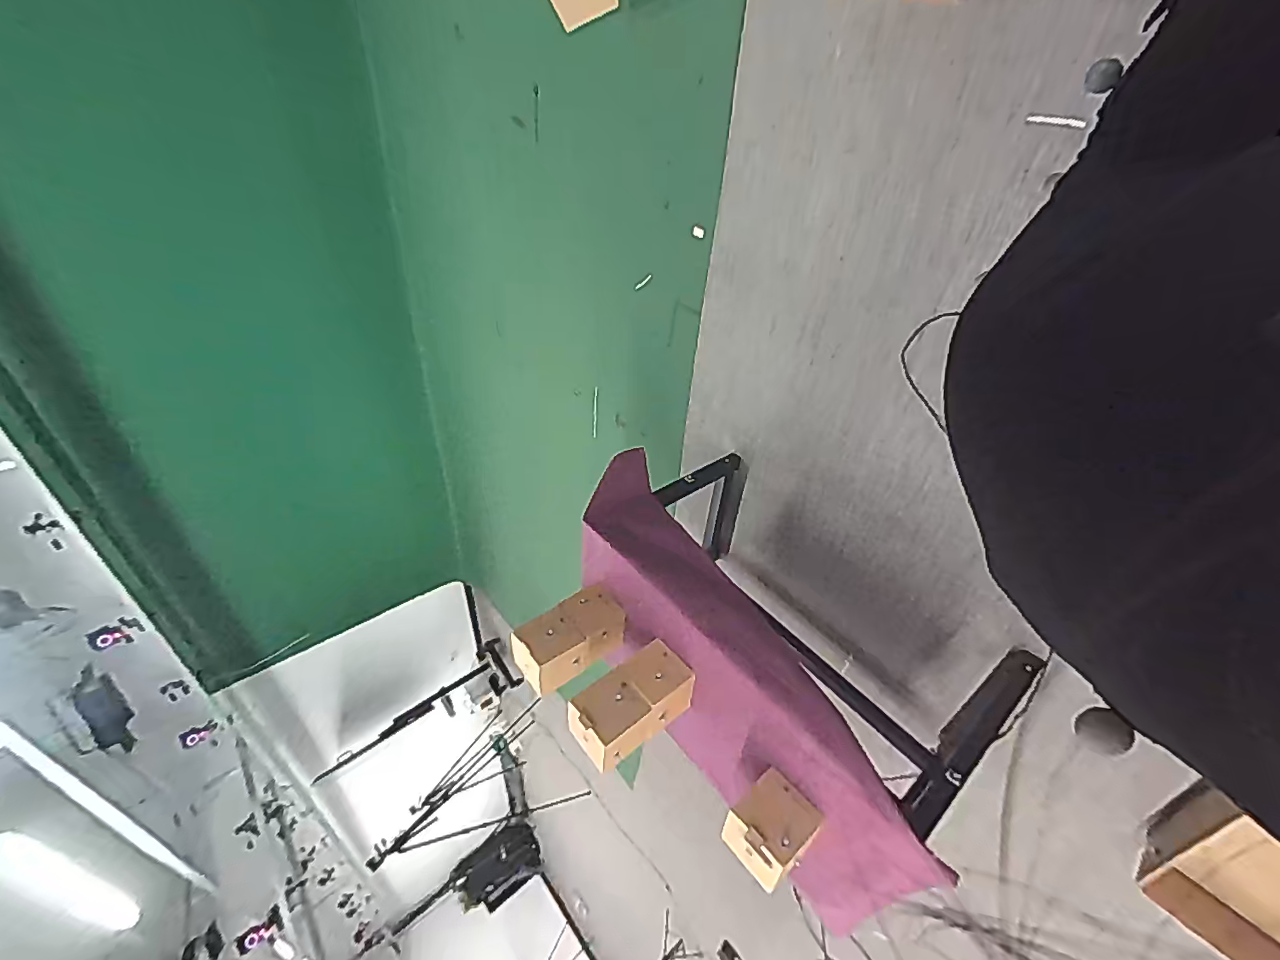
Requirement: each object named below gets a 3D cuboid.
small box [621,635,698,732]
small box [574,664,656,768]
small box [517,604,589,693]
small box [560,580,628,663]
[{"bbox_3d":[0.056,0.597,1.607,0.168,0.176,0.179,36,138,36],"label":"small box"},{"bbox_3d":[-0.071,0.660,1.523,0.168,0.176,0.179,39,140,34],"label":"small box"},{"bbox_3d":[-0.274,0.529,1.720,0.168,0.176,0.179,40,139,35],"label":"small box"},{"bbox_3d":[-0.154,0.468,1.812,0.168,0.176,0.179,39,140,34],"label":"small box"}]
